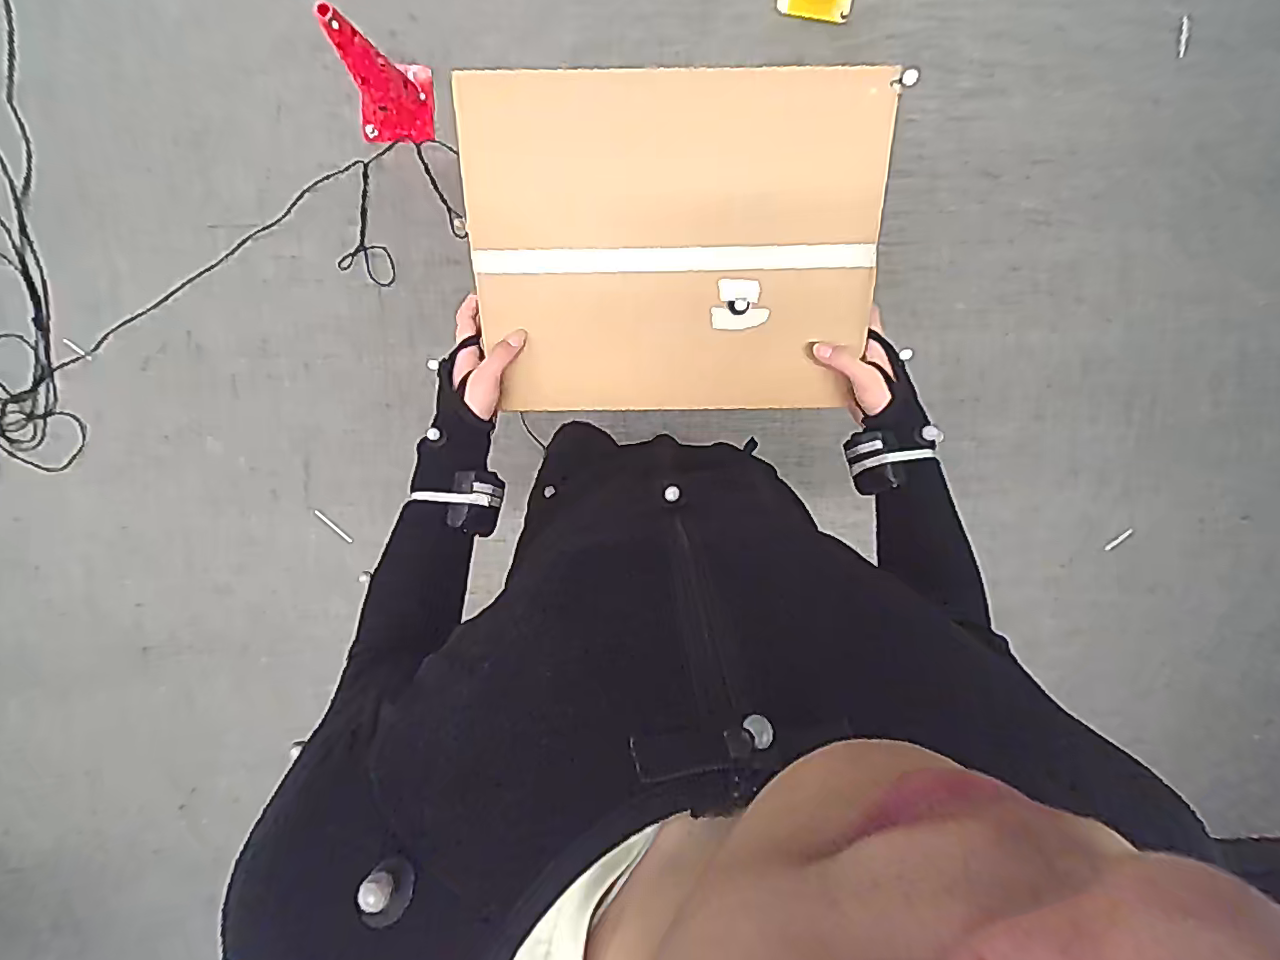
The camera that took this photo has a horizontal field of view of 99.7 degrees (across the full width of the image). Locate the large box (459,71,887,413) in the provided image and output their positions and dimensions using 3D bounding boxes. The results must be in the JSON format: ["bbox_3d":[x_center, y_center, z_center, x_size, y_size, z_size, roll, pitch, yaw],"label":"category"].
[{"bbox_3d":[0.032,-0.280,0.688,0.408,0.320,0.320,-2,113,0],"label":"large box"}]
